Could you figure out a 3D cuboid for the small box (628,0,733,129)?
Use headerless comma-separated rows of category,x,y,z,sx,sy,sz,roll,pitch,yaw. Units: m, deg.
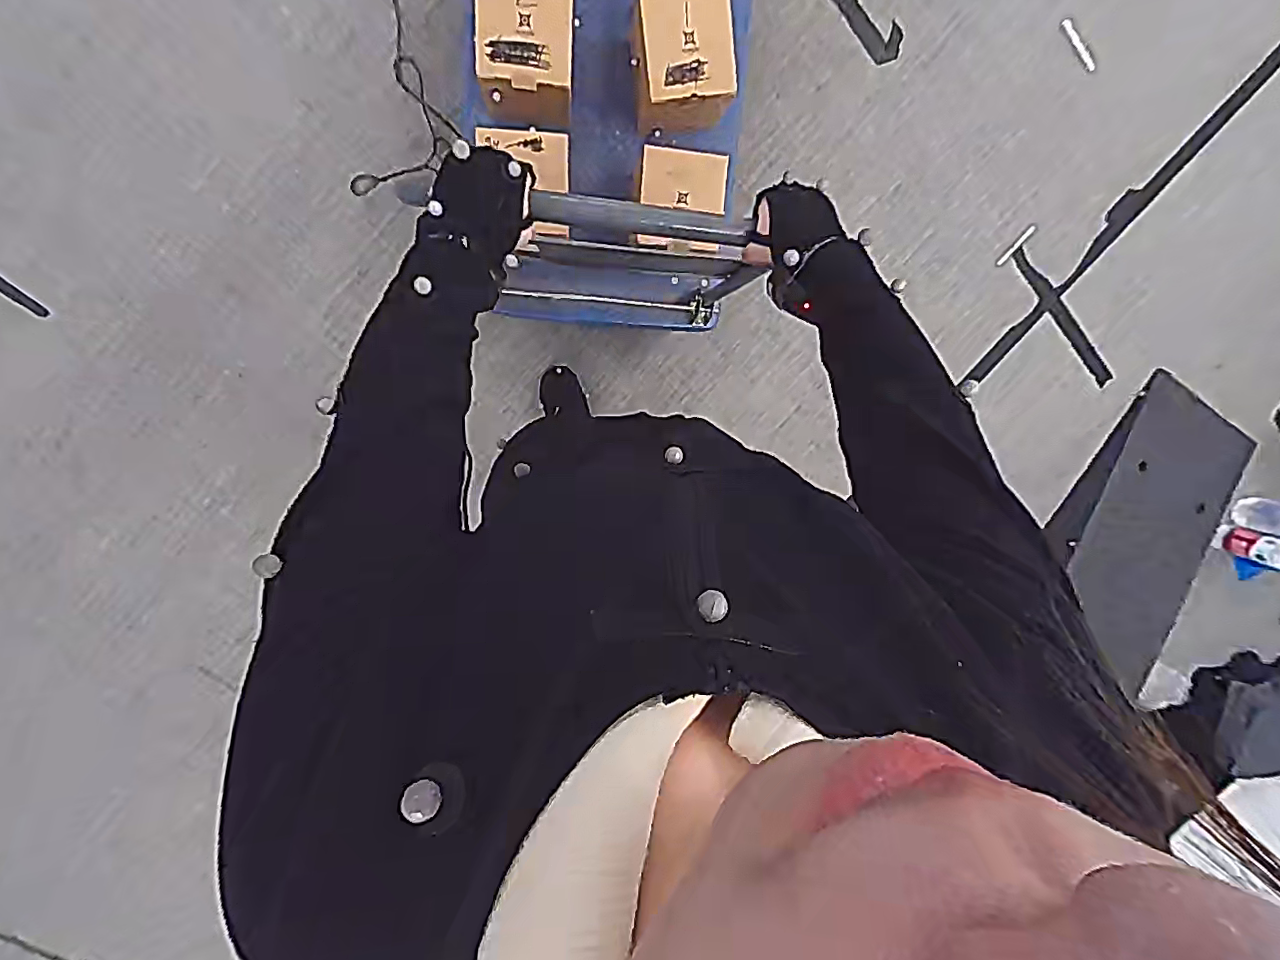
small box,0.075,-0.809,1.052,0.168,0.176,0.179,-9,104,-6

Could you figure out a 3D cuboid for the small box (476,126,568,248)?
small box,-0.225,-0.565,1.068,0.168,0.176,0.179,-1,104,-9

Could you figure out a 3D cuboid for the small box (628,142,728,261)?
small box,0.070,-0.560,1.114,0.168,0.176,0.179,3,103,-9
